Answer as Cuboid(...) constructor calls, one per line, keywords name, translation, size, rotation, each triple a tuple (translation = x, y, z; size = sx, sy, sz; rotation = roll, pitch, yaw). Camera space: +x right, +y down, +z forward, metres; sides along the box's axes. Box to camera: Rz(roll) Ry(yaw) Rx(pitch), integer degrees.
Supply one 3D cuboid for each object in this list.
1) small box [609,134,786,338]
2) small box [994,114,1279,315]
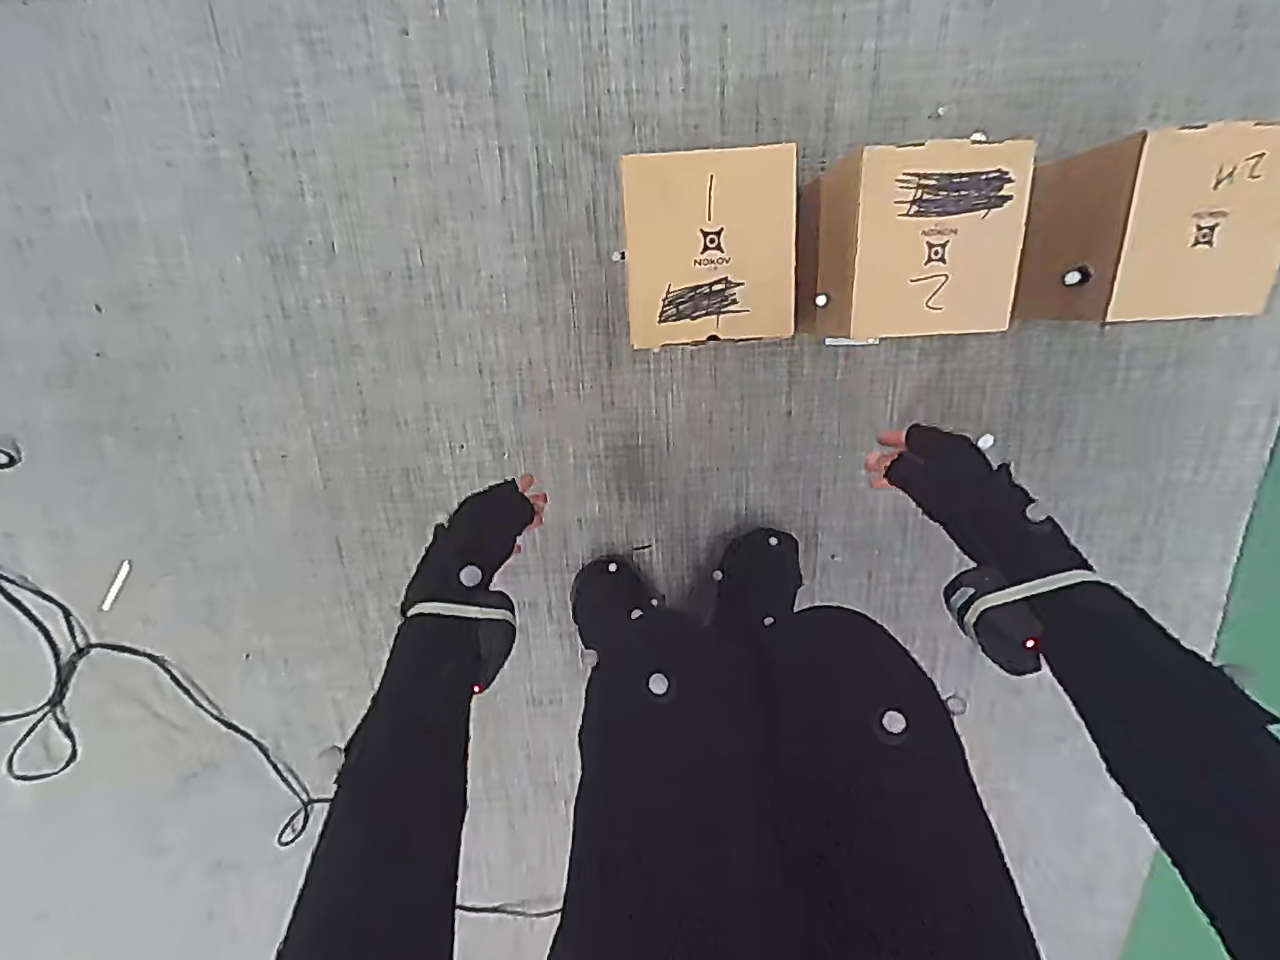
Cuboid(name="small box", translation=(0.056, -0.255, 0.598), size=(0.168, 0.176, 0.179), rotation=(-4, 107, 0))
Cuboid(name="small box", translation=(0.537, -0.282, 0.606), size=(0.168, 0.176, 0.179), rotation=(-3, 108, -1))
